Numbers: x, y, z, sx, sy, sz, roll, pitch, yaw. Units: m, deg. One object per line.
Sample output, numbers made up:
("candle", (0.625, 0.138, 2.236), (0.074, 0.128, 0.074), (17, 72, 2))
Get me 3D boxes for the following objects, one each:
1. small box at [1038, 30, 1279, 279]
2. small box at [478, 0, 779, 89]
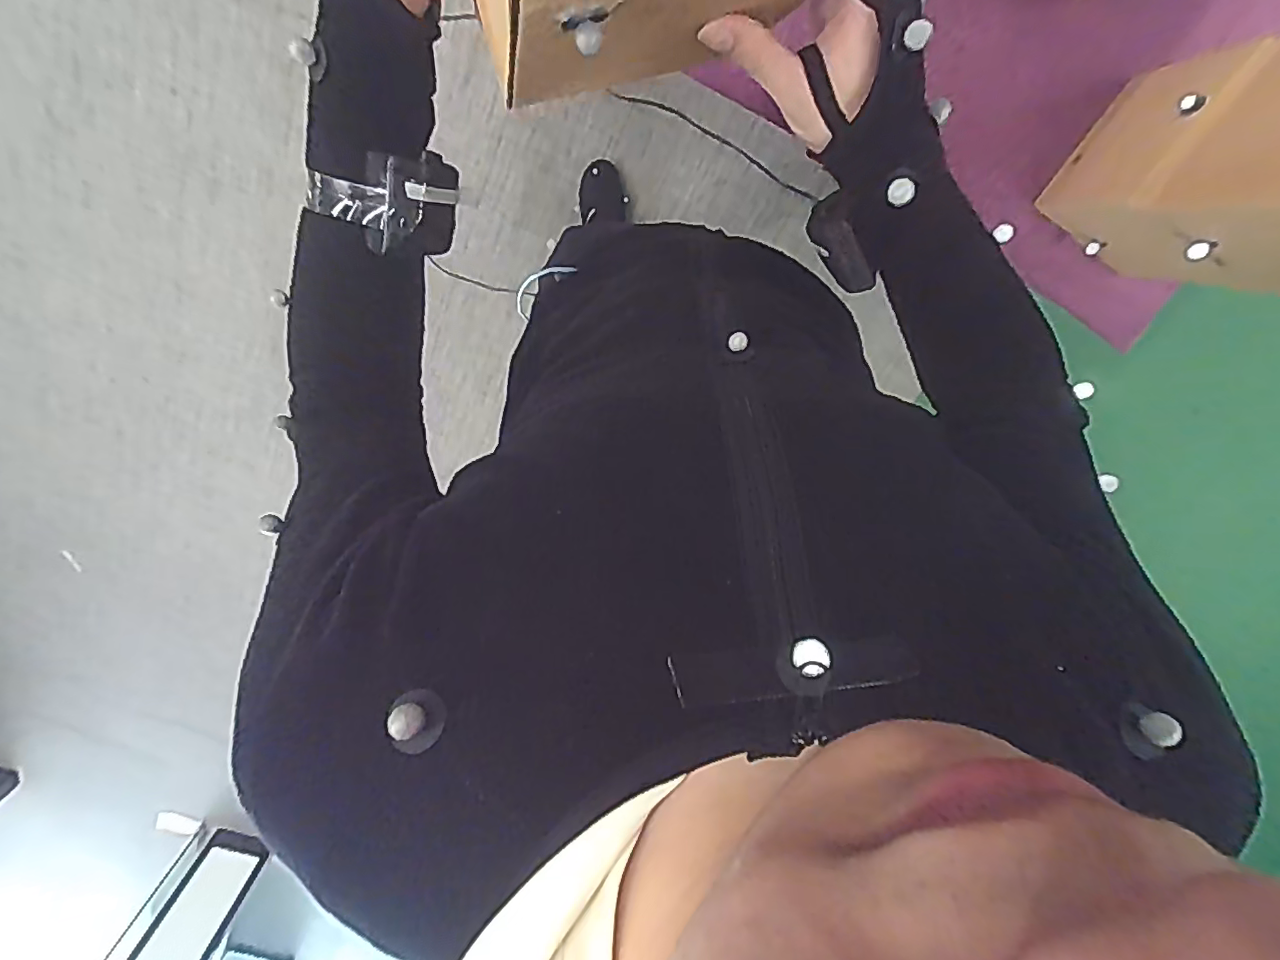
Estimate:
("small box", (0.631, -0.363, 0.629), (0.179, 0.176, 0.168), (27, 114, -12))
("small box", (-0.005, -0.306, 0.240), (0.176, 0.179, 0.168), (-18, 116, -7))
